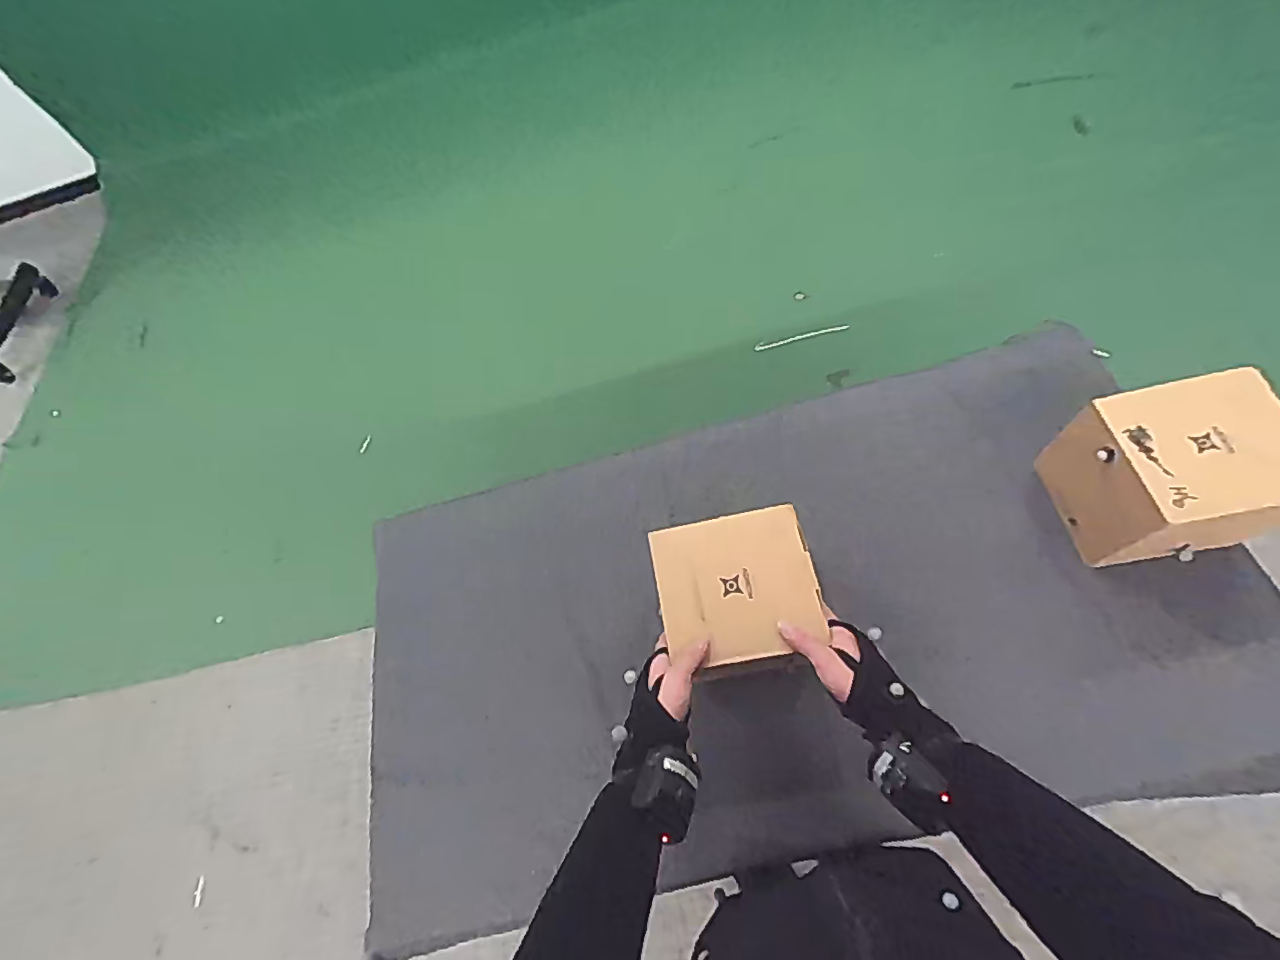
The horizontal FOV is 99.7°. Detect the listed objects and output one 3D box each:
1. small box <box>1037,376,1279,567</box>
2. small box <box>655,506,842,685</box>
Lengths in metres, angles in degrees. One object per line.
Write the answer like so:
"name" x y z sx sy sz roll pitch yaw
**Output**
"small box" 0.652 -0.002 0.672 0.179 0.176 0.168 -11 64 6
"small box" 0.126 0.150 0.667 0.179 0.176 0.168 -13 64 6
